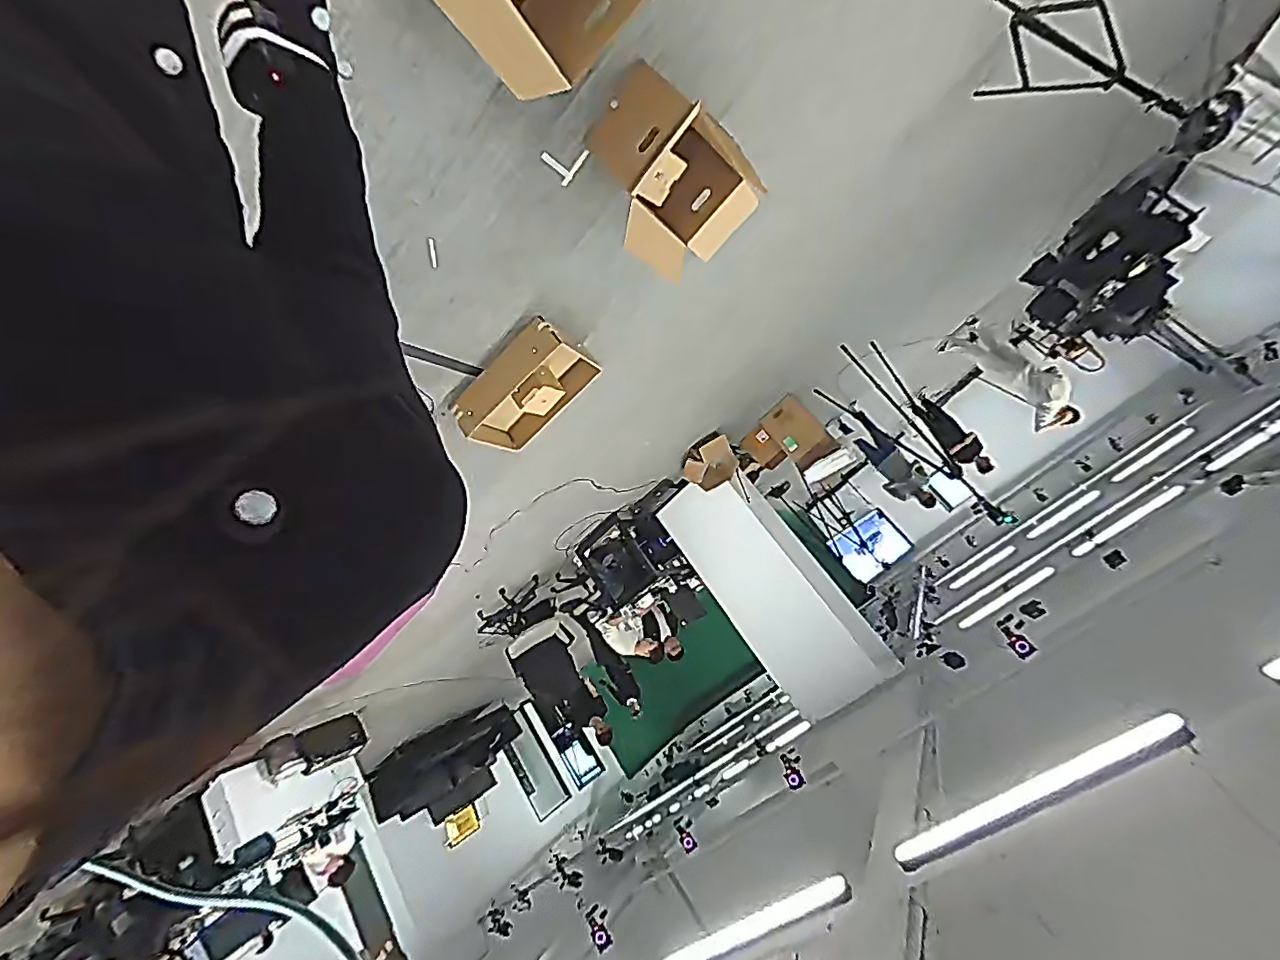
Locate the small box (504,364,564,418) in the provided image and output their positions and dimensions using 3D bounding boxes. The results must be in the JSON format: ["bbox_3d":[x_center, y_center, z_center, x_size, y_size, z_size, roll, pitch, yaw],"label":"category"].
[{"bbox_3d":[-0.490,-0.412,2.485,0.168,0.176,0.179,-42,160,19],"label":"small box"}]
